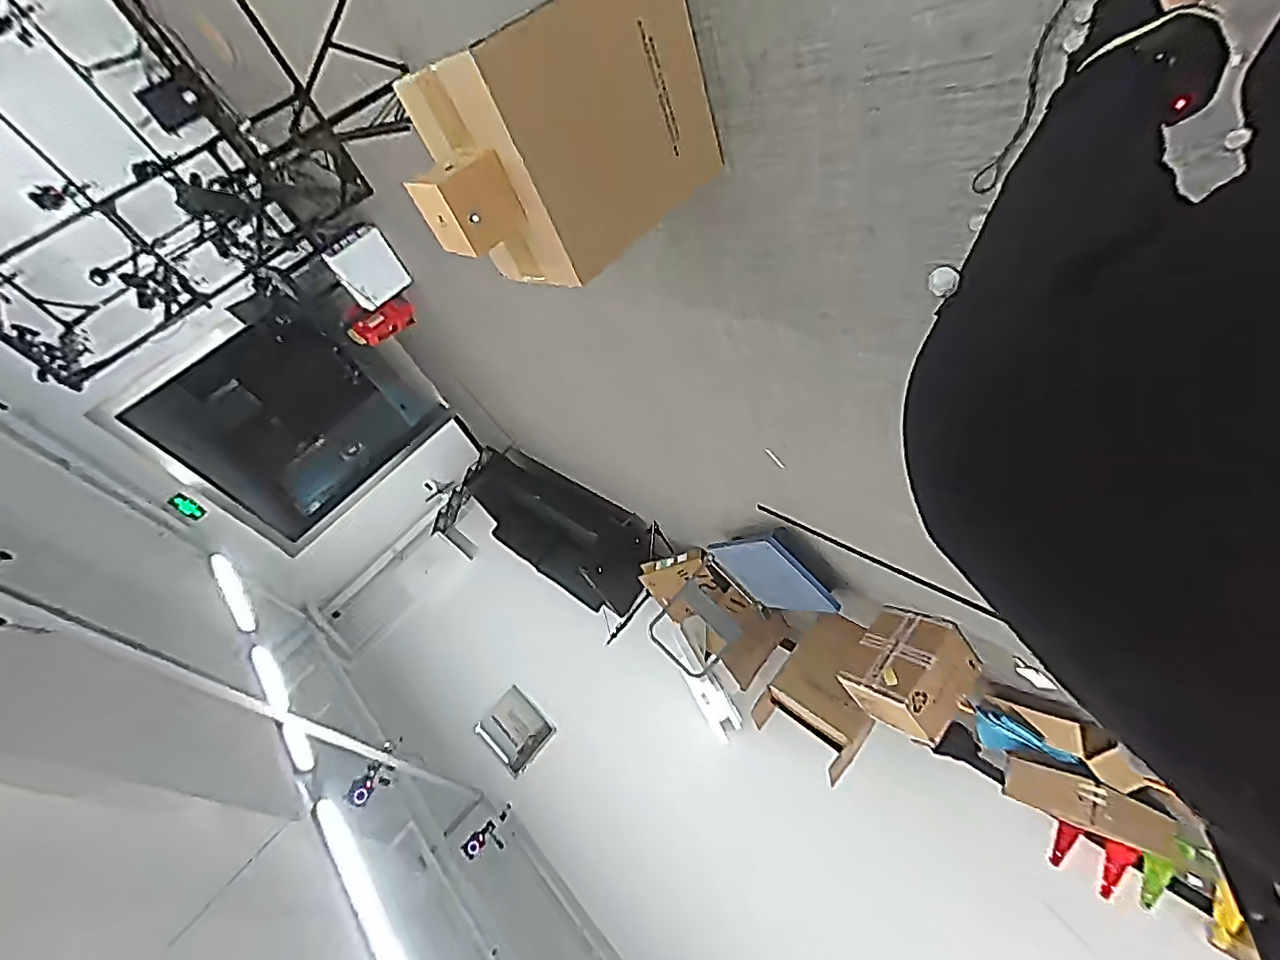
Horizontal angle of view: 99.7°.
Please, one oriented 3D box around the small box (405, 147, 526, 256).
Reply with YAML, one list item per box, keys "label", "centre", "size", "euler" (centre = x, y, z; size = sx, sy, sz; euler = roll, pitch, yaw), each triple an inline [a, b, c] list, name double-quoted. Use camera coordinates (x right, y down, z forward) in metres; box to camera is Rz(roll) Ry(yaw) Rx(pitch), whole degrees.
- label: "small box"
  centre: [-0.410, -0.668, 1.290]
  size: [0.168, 0.176, 0.179]
  euler: [27, 157, 37]
